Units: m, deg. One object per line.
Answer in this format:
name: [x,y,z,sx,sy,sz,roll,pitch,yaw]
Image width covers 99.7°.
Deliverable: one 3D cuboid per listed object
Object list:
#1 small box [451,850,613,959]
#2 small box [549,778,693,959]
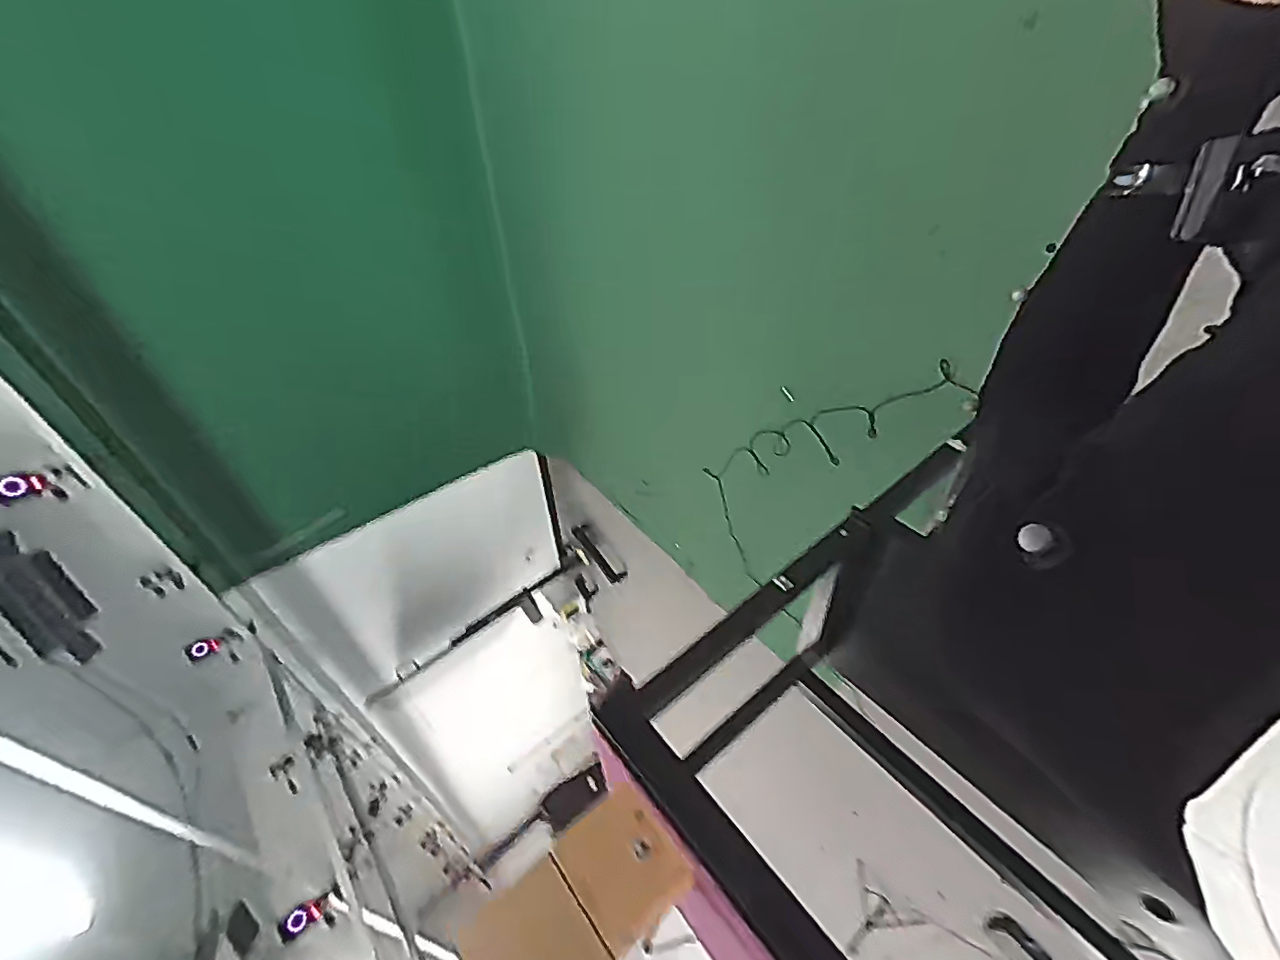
small box: [-0.151,0.710,0.811,0.179,0.176,0.168,39,145,35]
small box: [-0.027,0.640,0.895,0.168,0.176,0.179,39,146,35]
